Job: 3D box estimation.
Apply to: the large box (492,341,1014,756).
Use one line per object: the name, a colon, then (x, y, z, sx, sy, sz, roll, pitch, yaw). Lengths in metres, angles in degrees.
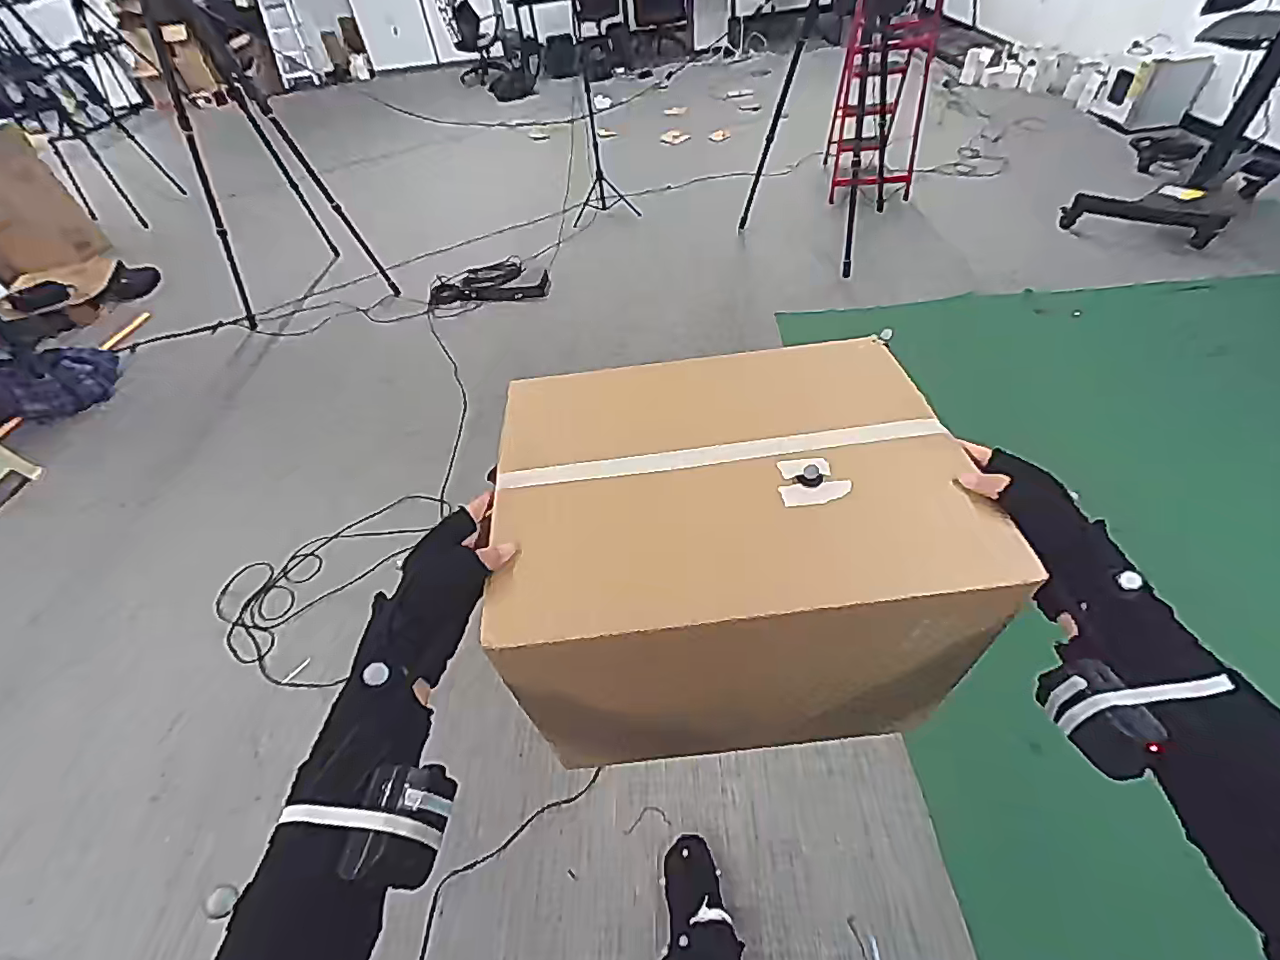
large box: (0.080, 0.081, 0.608, 0.408, 0.320, 0.320, -7, 48, 0)
